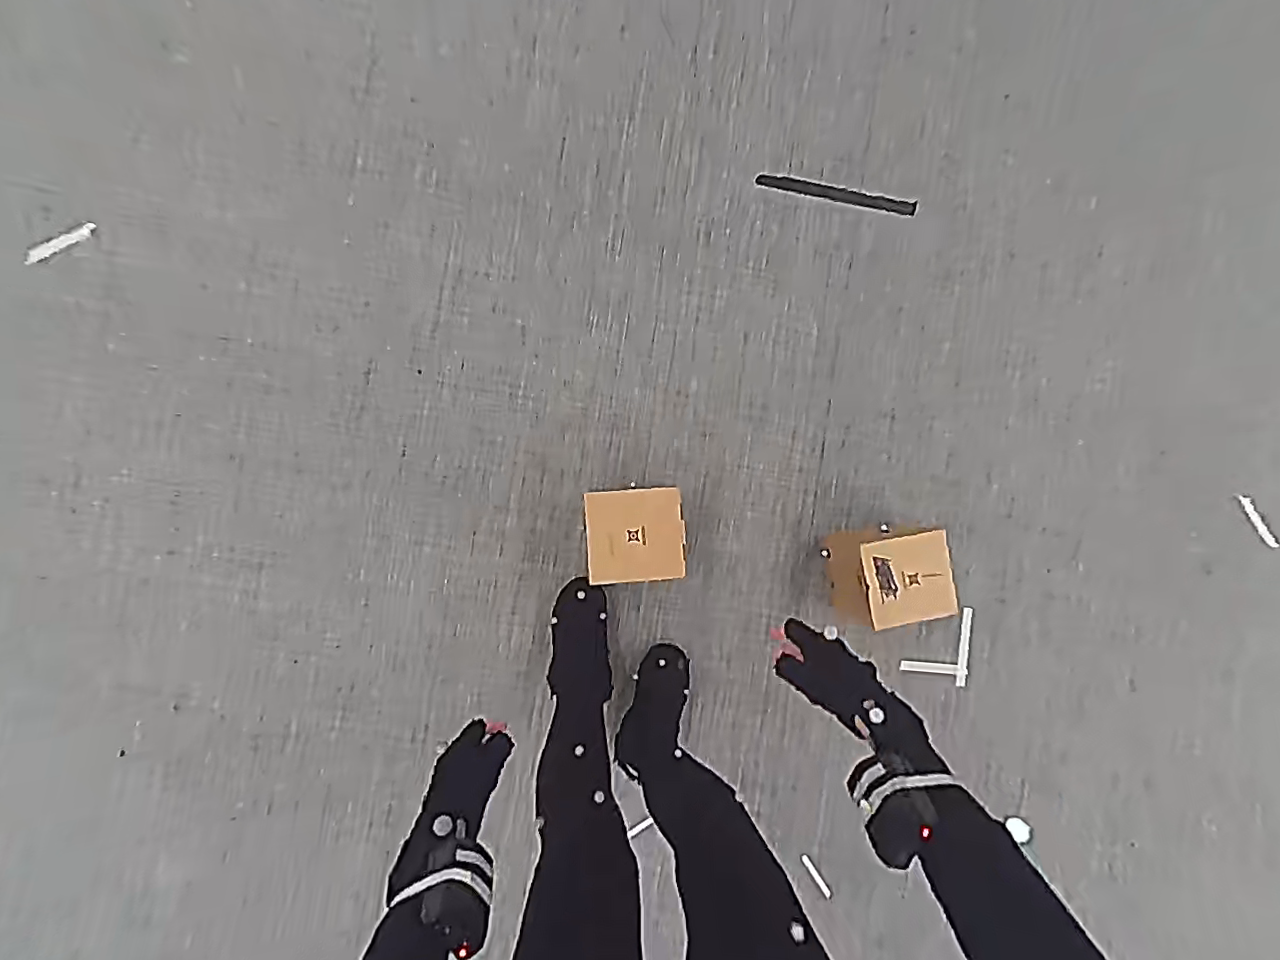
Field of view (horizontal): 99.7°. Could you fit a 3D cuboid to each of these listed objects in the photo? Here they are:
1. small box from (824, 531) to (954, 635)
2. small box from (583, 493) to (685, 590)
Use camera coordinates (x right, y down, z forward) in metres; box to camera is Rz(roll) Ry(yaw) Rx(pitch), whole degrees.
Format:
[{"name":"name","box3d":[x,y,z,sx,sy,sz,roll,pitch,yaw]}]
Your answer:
[{"name":"small box","box3d":[0.489,0.199,1.091,0.179,0.176,0.168,-9,90,-6]},{"name":"small box","box3d":[-0.018,0.110,1.040,0.179,0.176,0.168,-4,89,-5]}]
